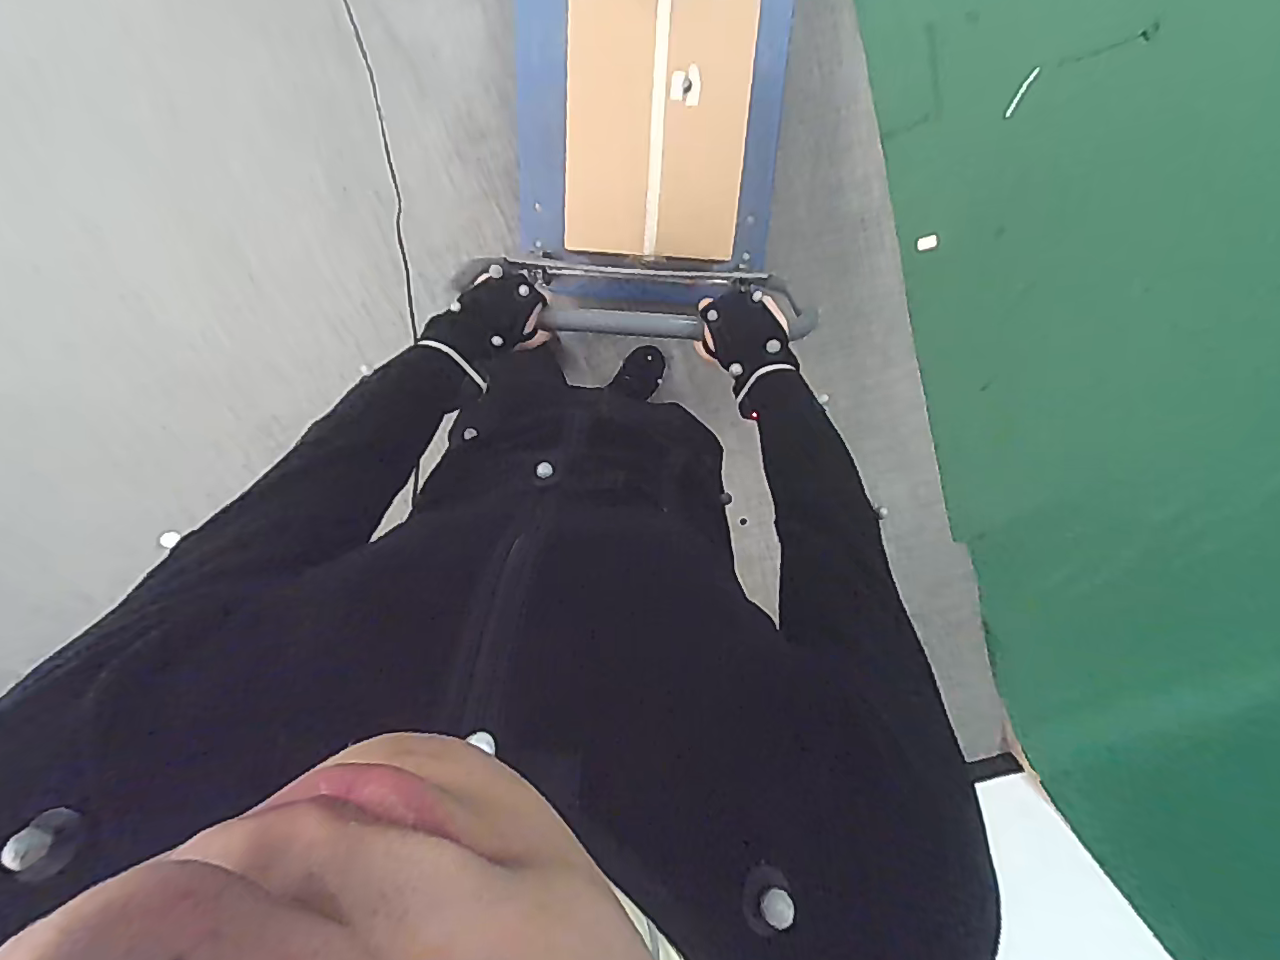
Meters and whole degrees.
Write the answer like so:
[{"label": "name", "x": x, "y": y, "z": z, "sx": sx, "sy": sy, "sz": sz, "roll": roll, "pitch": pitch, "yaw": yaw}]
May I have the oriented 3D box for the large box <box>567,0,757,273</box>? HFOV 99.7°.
[{"label": "large box", "x": 0.033, "y": -0.642, "z": 1.083, "sx": 0.320, "sy": 0.320, "sz": 0.408, "roll": 4, "pitch": 108, "yaw": 0}]
